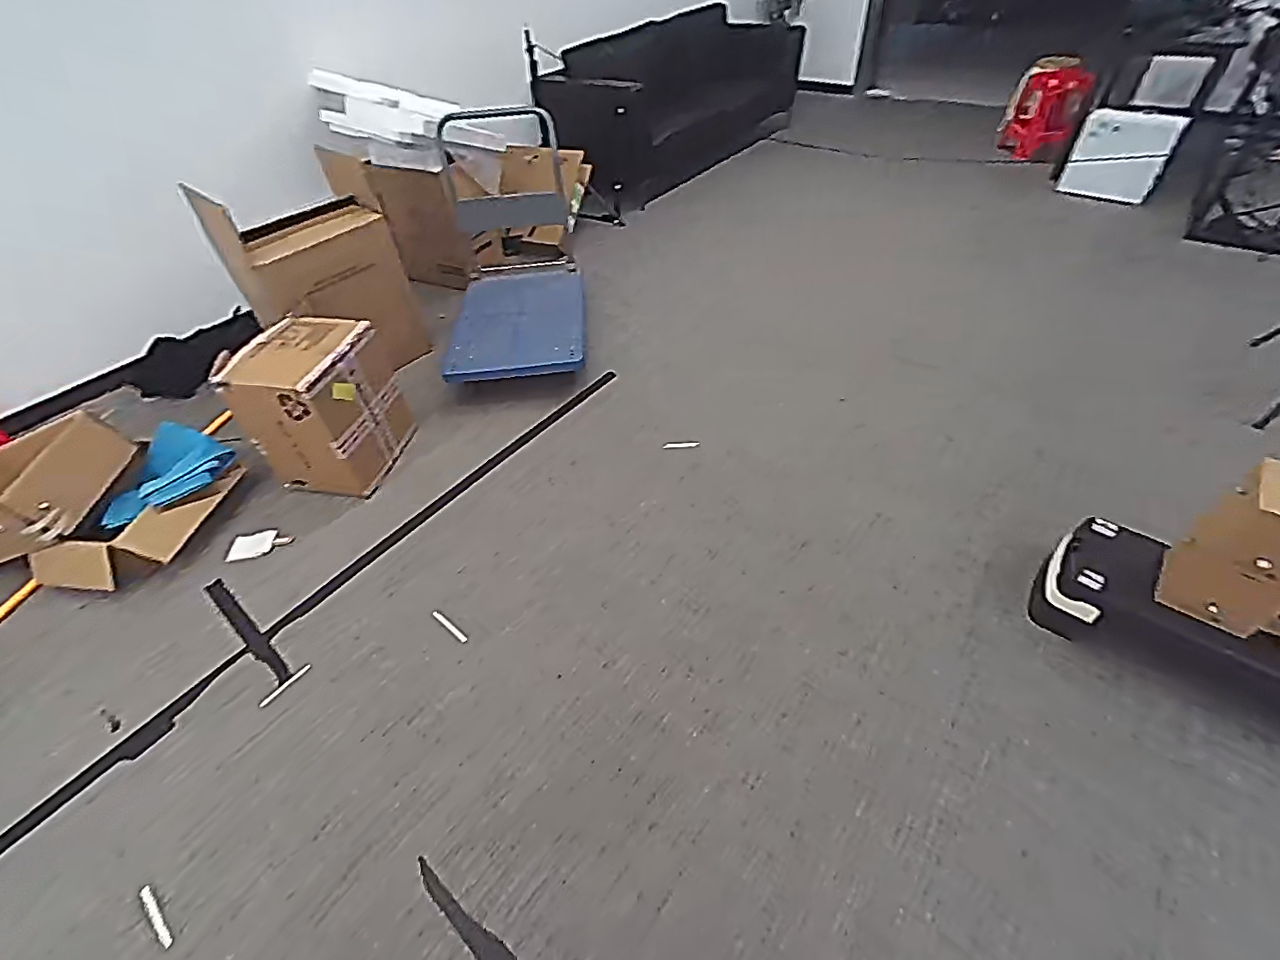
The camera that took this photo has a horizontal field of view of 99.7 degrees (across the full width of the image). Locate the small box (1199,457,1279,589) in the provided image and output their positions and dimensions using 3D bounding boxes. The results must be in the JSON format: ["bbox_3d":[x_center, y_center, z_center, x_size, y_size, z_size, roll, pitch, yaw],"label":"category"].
[{"bbox_3d":[1.314,0.091,1.115,0.168,0.176,0.179,28,55,29],"label":"small box"}]

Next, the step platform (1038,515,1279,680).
[{"bbox_3d":[1.412,0.353,1.323,0.684,0.204,0.286,27,53,29],"label":"step platform"}]

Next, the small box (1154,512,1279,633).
[{"bbox_3d":[1.324,0.208,1.229,0.168,0.176,0.179,29,55,29],"label":"small box"}]
